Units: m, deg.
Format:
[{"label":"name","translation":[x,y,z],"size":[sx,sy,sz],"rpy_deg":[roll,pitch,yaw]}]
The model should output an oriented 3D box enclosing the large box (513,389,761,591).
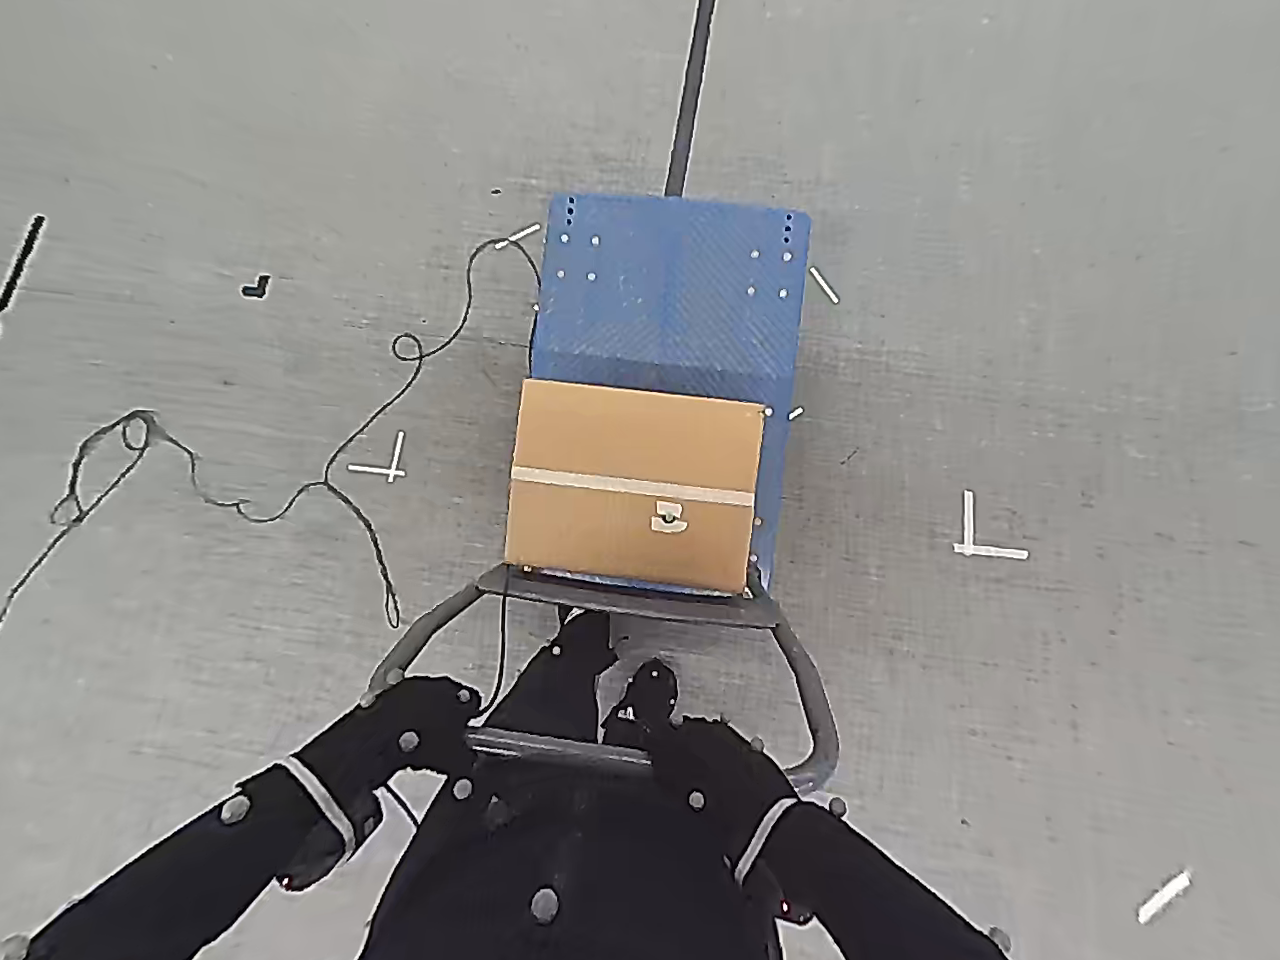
[{"label":"large box","translation":[-0.003,0.017,1.064],"size":[0.408,0.320,0.320],"rpy_deg":[7,91,2]}]
